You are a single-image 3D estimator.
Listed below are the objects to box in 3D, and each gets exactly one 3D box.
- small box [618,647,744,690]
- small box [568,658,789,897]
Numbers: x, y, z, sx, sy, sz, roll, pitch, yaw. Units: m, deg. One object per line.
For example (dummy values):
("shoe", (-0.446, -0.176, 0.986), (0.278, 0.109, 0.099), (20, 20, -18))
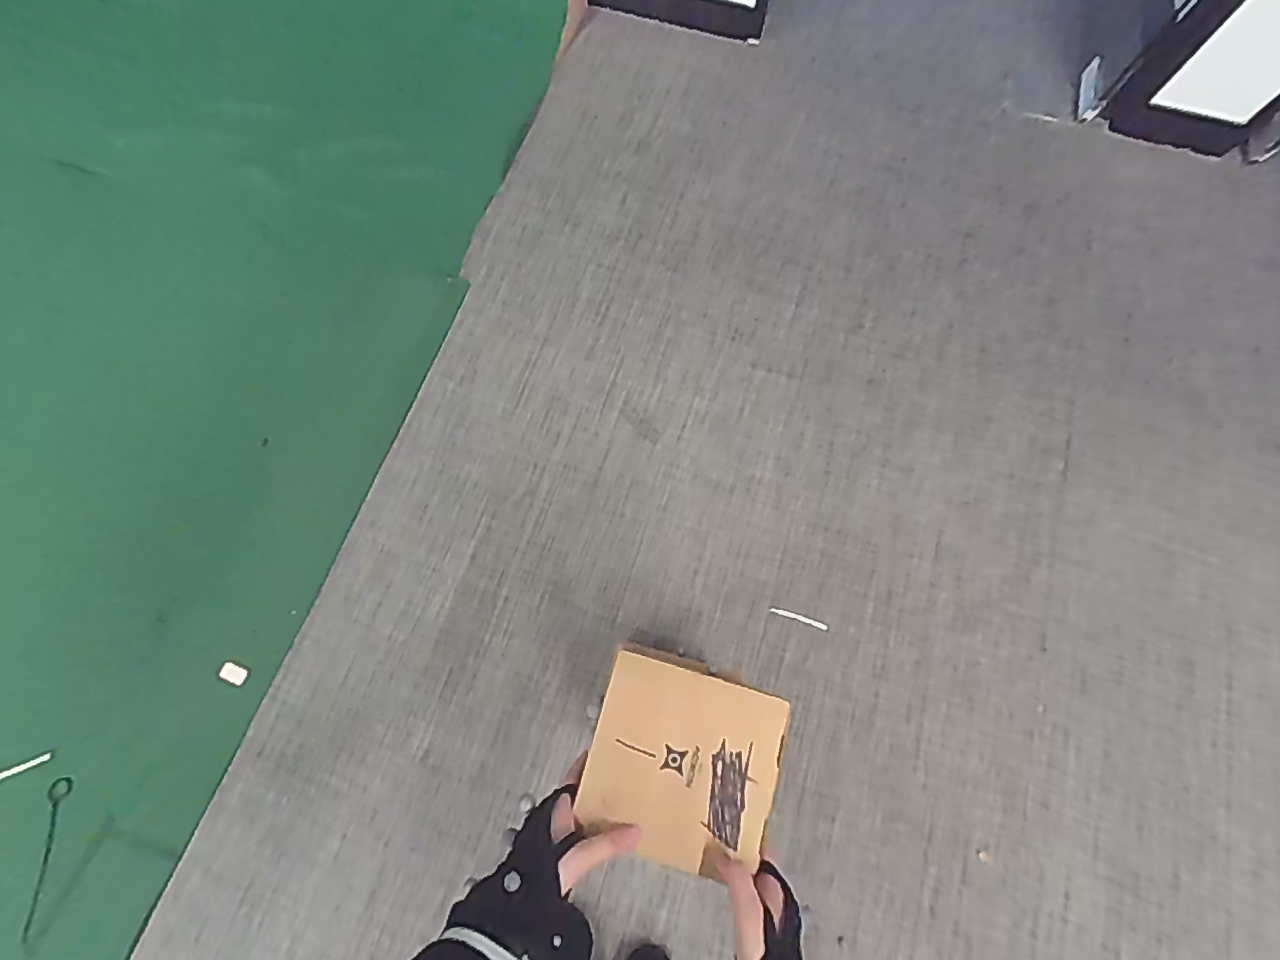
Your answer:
("small box", (0.032, 0.337, 0.742), (0.168, 0.176, 0.179), (14, 74, 5))
("small box", (0.039, 0.295, 0.582), (0.179, 0.176, 0.168), (16, 73, 5))
